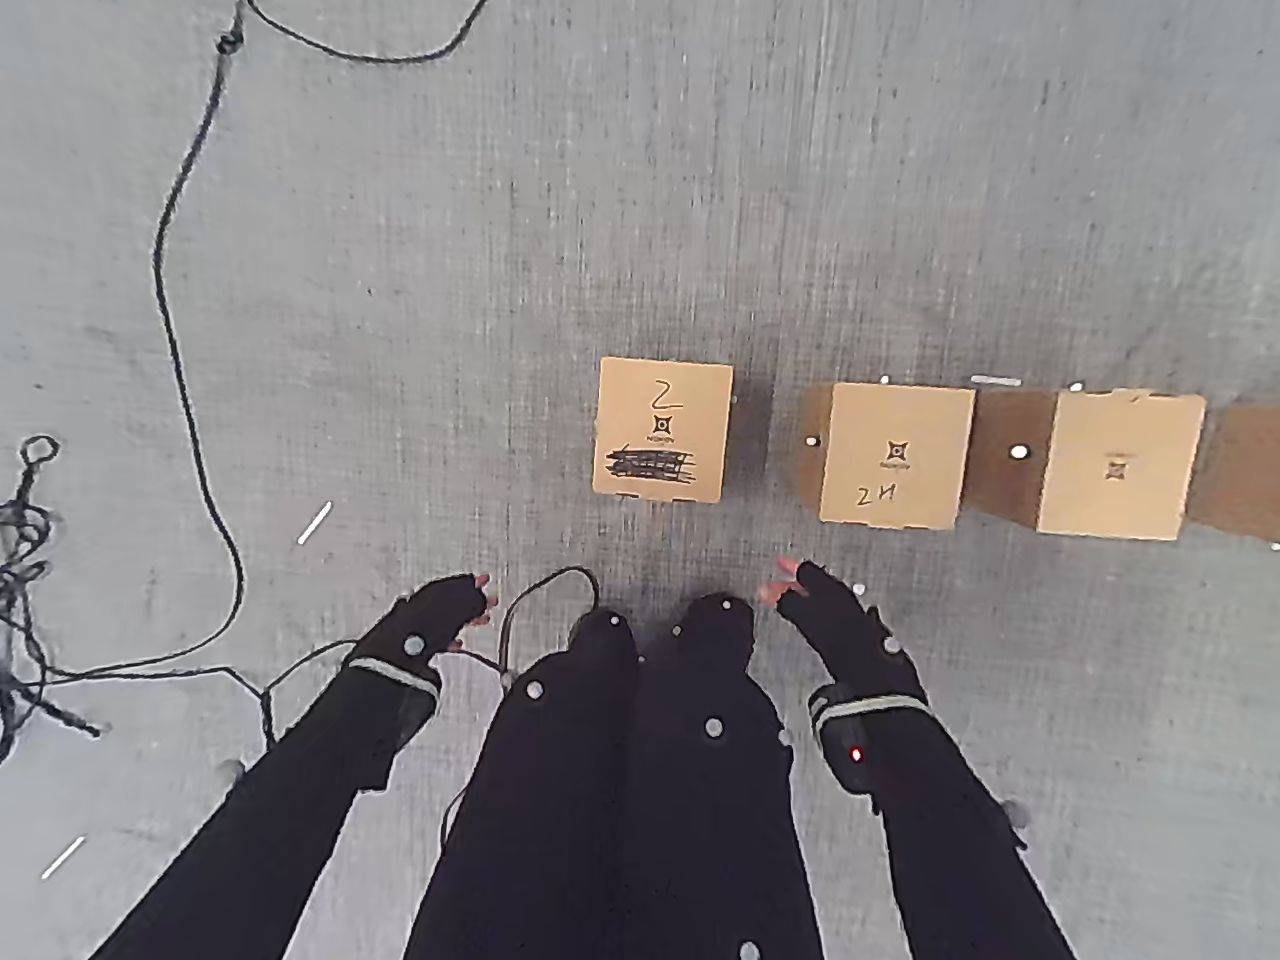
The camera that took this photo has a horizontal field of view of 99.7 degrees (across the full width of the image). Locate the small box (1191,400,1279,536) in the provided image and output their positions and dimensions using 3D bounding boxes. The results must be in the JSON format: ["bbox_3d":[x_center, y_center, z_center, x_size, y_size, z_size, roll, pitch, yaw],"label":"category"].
[{"bbox_3d":[0.895,-0.010,0.709,0.168,0.176,0.179,7,100,4],"label":"small box"}]

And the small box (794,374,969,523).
[{"bbox_3d":[0.316,-0.049,0.745,0.168,0.176,0.179,4,99,5],"label":"small box"}]

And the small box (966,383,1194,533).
[{"bbox_3d":[0.571,-0.037,0.731,0.168,0.176,0.179,3,98,4],"label":"small box"}]
